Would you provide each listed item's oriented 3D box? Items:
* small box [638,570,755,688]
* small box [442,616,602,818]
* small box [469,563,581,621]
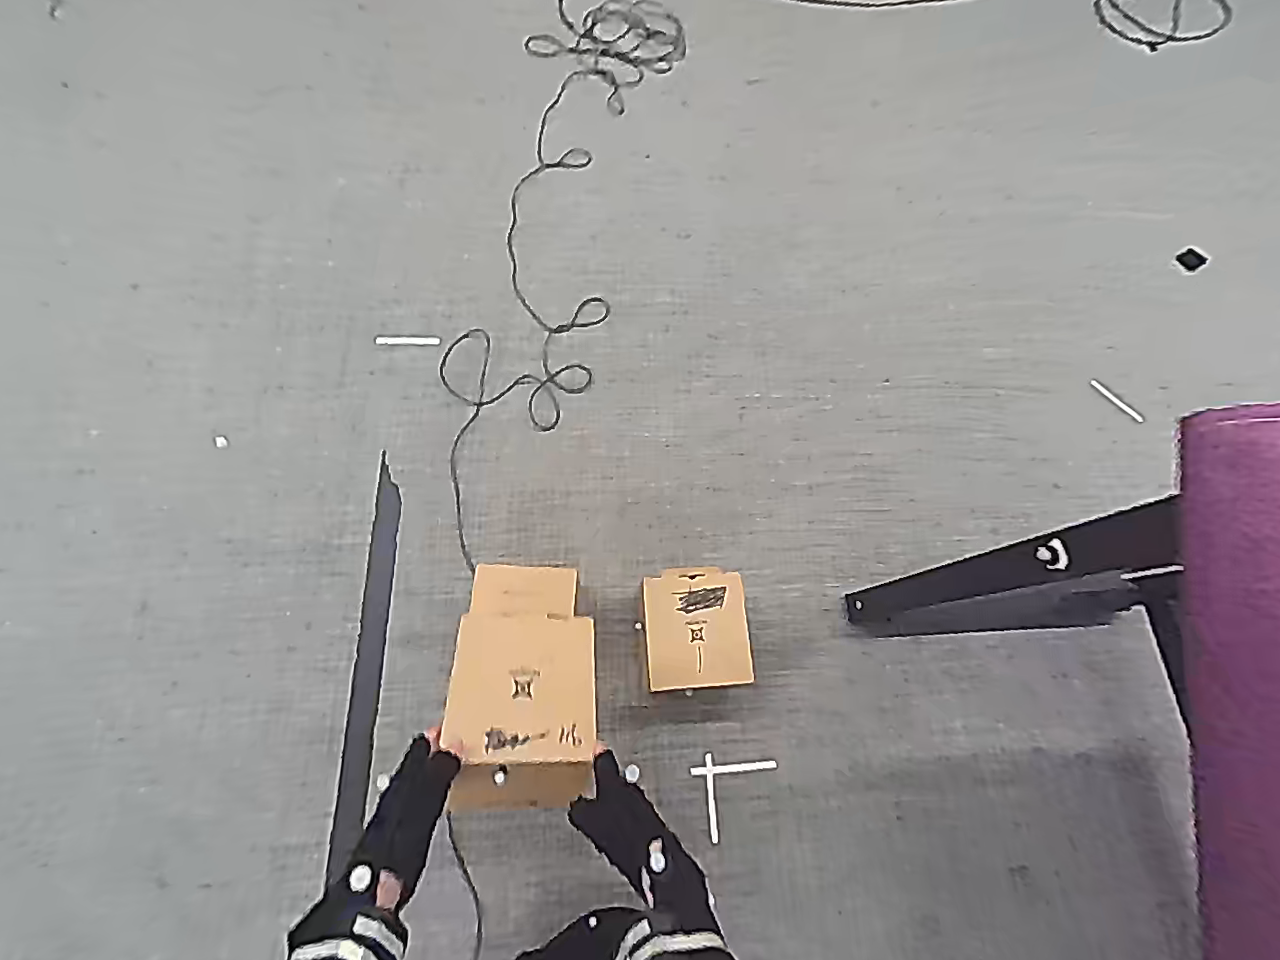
[{"bbox_3d":[0.087,0.261,0.933,0.168,0.176,0.179,-3,71,-5],"label":"small box"},{"bbox_3d":[-0.140,0.291,0.665,0.168,0.176,0.179,5,43,-11],"label":"small box"},{"bbox_3d":[-0.191,0.248,0.922,0.168,0.176,0.179,3,69,-4],"label":"small box"}]
